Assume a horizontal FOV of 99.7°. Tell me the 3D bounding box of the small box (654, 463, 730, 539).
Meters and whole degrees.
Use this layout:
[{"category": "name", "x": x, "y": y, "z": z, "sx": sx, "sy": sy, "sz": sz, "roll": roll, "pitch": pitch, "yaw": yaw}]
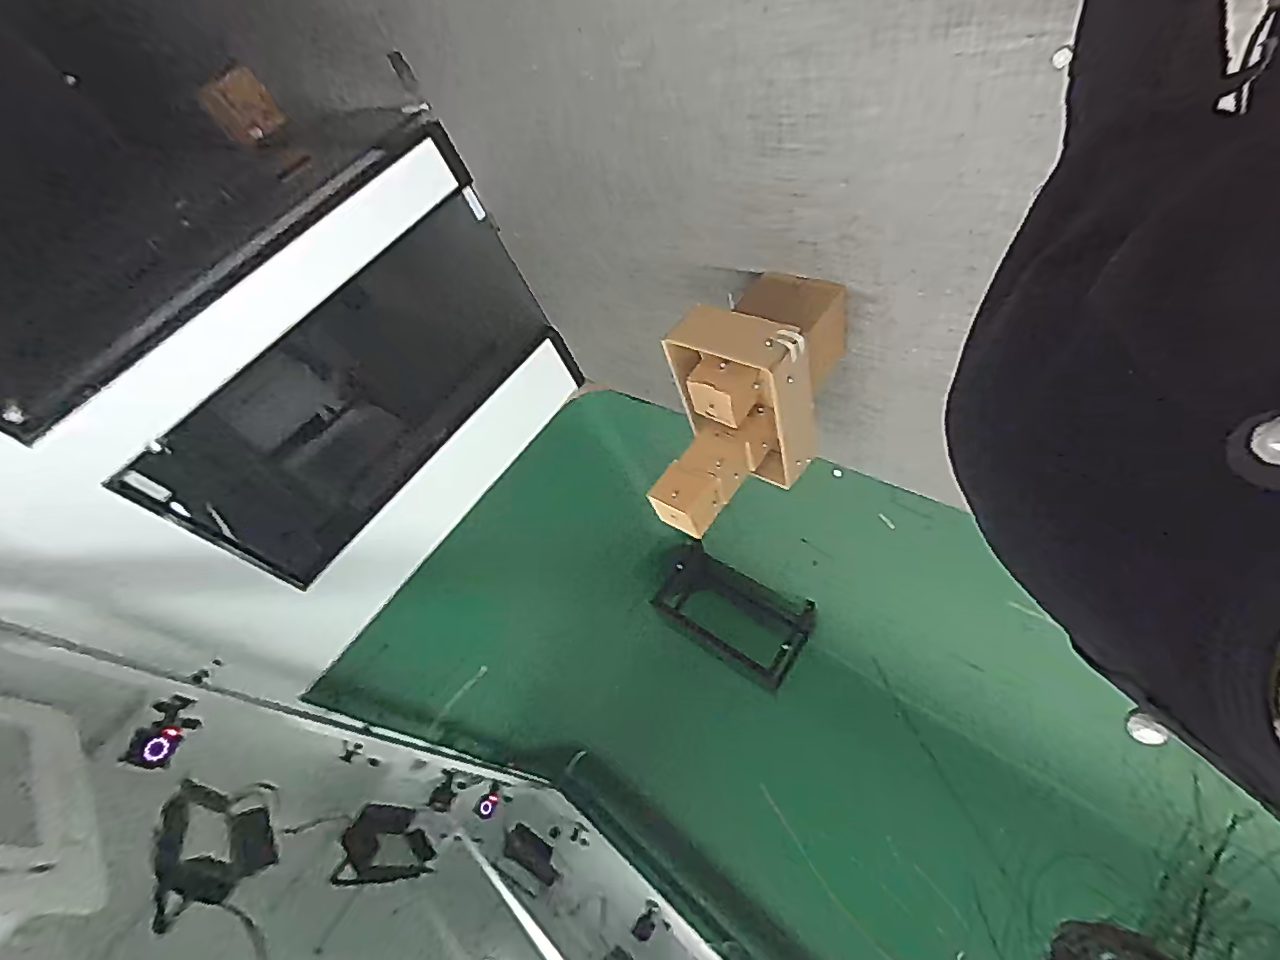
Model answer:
[{"category": "small box", "x": 0.181, "y": 0.064, "z": 1.838, "sx": 0.179, "sy": 0.176, "sz": 0.168, "roll": 25, "pitch": 158, "yaw": 36}]
